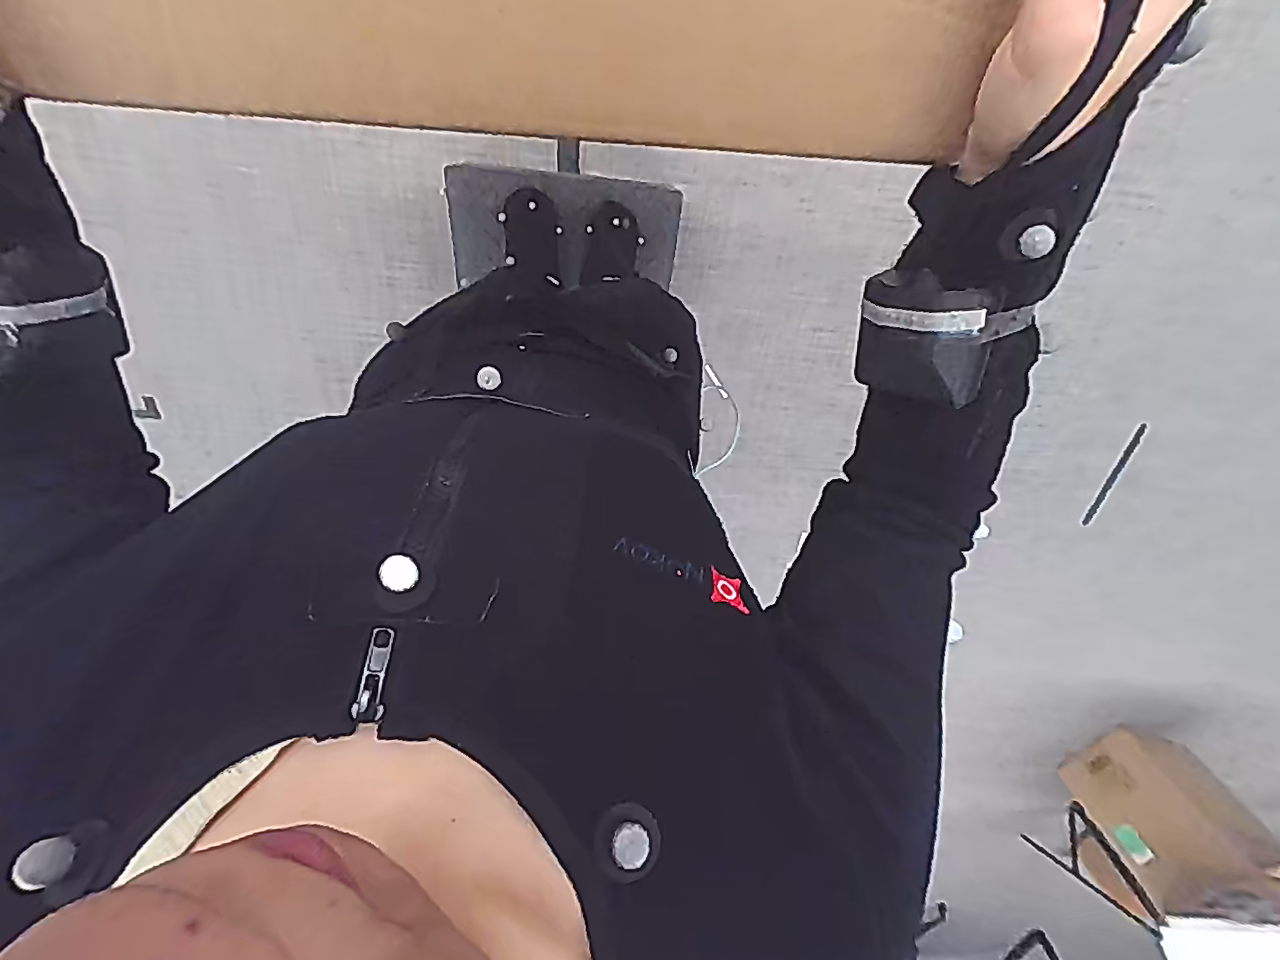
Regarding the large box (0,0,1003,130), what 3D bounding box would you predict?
[{"bbox_3d":[-0.054,-0.373,0.223,0.408,0.320,0.320,2,138,-4],"label":"large box"}]
